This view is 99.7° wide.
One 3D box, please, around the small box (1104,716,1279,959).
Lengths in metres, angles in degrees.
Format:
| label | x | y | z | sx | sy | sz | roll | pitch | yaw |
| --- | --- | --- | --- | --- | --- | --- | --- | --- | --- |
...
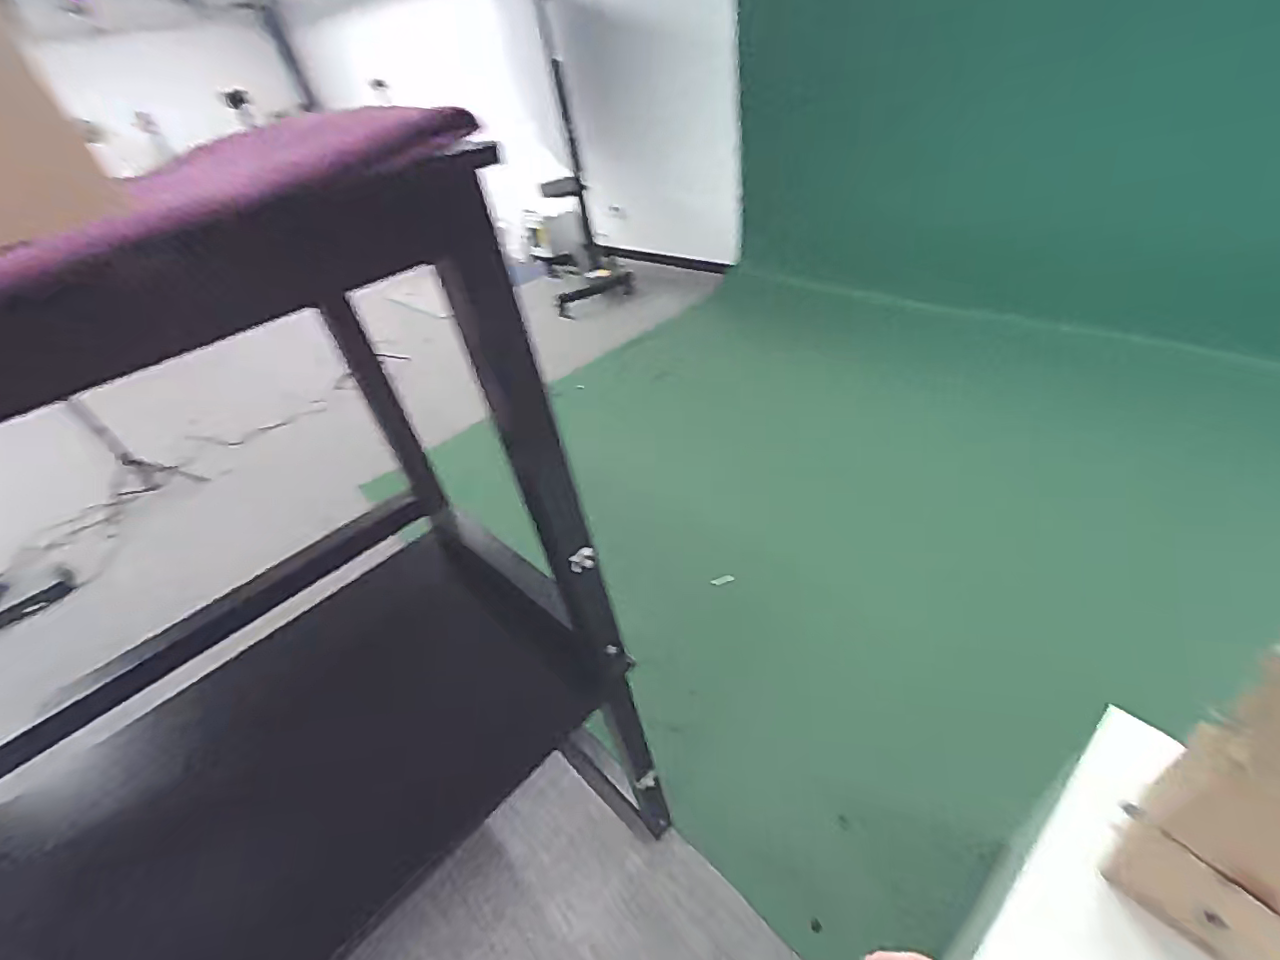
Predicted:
| label | x | y | z | sx | sy | sz | roll | pitch | yaw |
| --- | --- | --- | --- | --- | --- | --- | --- | --- | --- |
| small box | 0.690 | 0.427 | 0.630 | 0.179 | 0.176 | 0.168 | -34 | 45 | -25 |

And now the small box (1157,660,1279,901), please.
| label | x | y | z | sx | sy | sz | roll | pitch | yaw |
| --- | --- | --- | --- | --- | --- | --- | --- | --- | --- |
| small box | 0.666 | 0.306 | 0.524 | 0.168 | 0.176 | 0.179 | -31 | 44 | -23 |

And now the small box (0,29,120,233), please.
| label | x | y | z | sx | sy | sz | roll | pitch | yaw |
| --- | --- | --- | --- | --- | --- | --- | --- | --- | --- |
| small box | -0.461 | -0.222 | 0.306 | 0.168 | 0.176 | 0.179 | 25 | 51 | 39 |
